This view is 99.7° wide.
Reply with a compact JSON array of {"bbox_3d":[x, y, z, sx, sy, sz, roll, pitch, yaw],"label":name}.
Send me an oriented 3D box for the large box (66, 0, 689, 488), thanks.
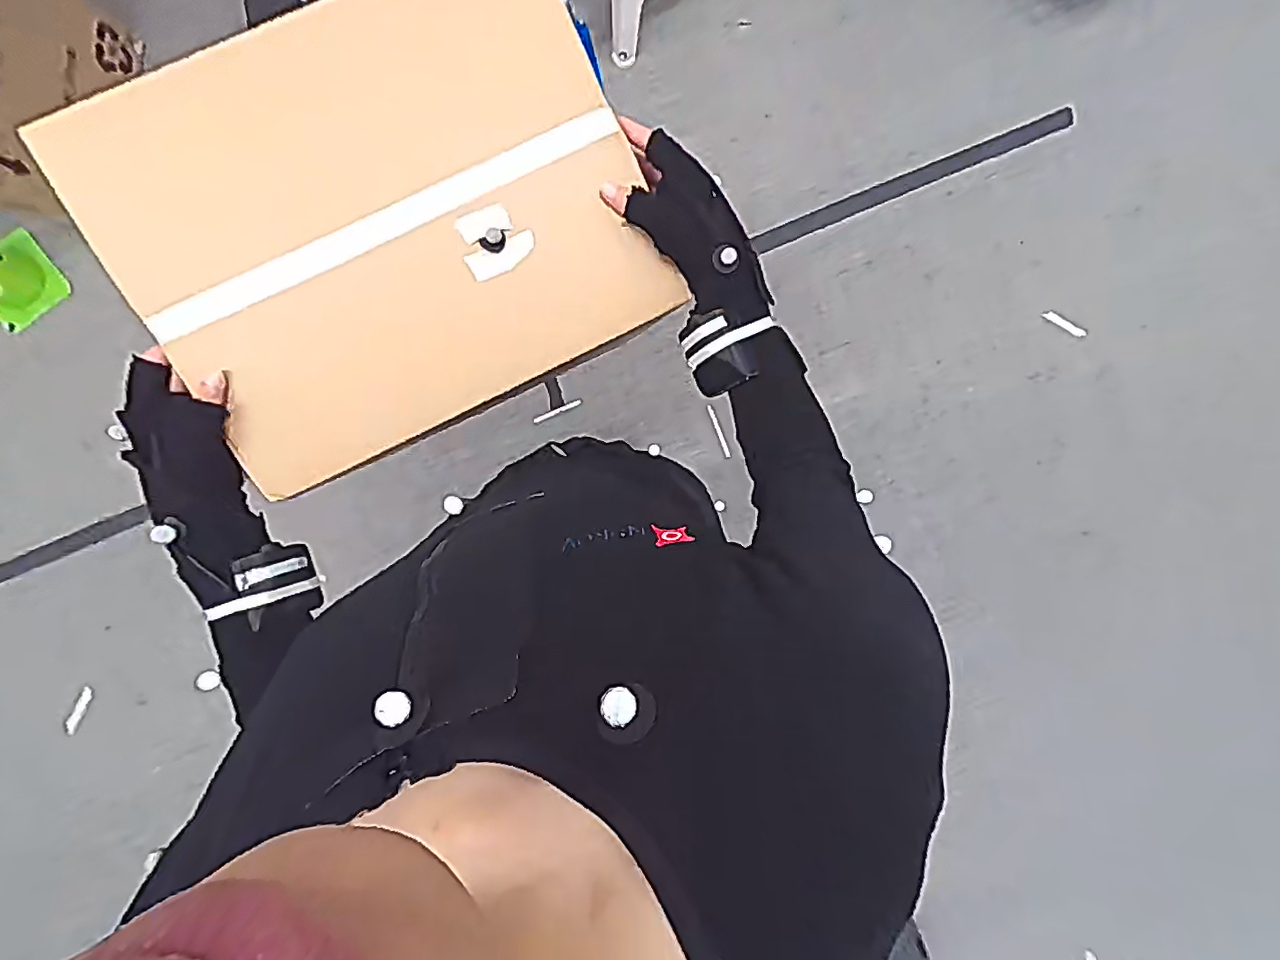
[{"bbox_3d":[-0.217,-0.236,0.592,0.408,0.320,0.320,-28,103,-4],"label":"large box"}]
